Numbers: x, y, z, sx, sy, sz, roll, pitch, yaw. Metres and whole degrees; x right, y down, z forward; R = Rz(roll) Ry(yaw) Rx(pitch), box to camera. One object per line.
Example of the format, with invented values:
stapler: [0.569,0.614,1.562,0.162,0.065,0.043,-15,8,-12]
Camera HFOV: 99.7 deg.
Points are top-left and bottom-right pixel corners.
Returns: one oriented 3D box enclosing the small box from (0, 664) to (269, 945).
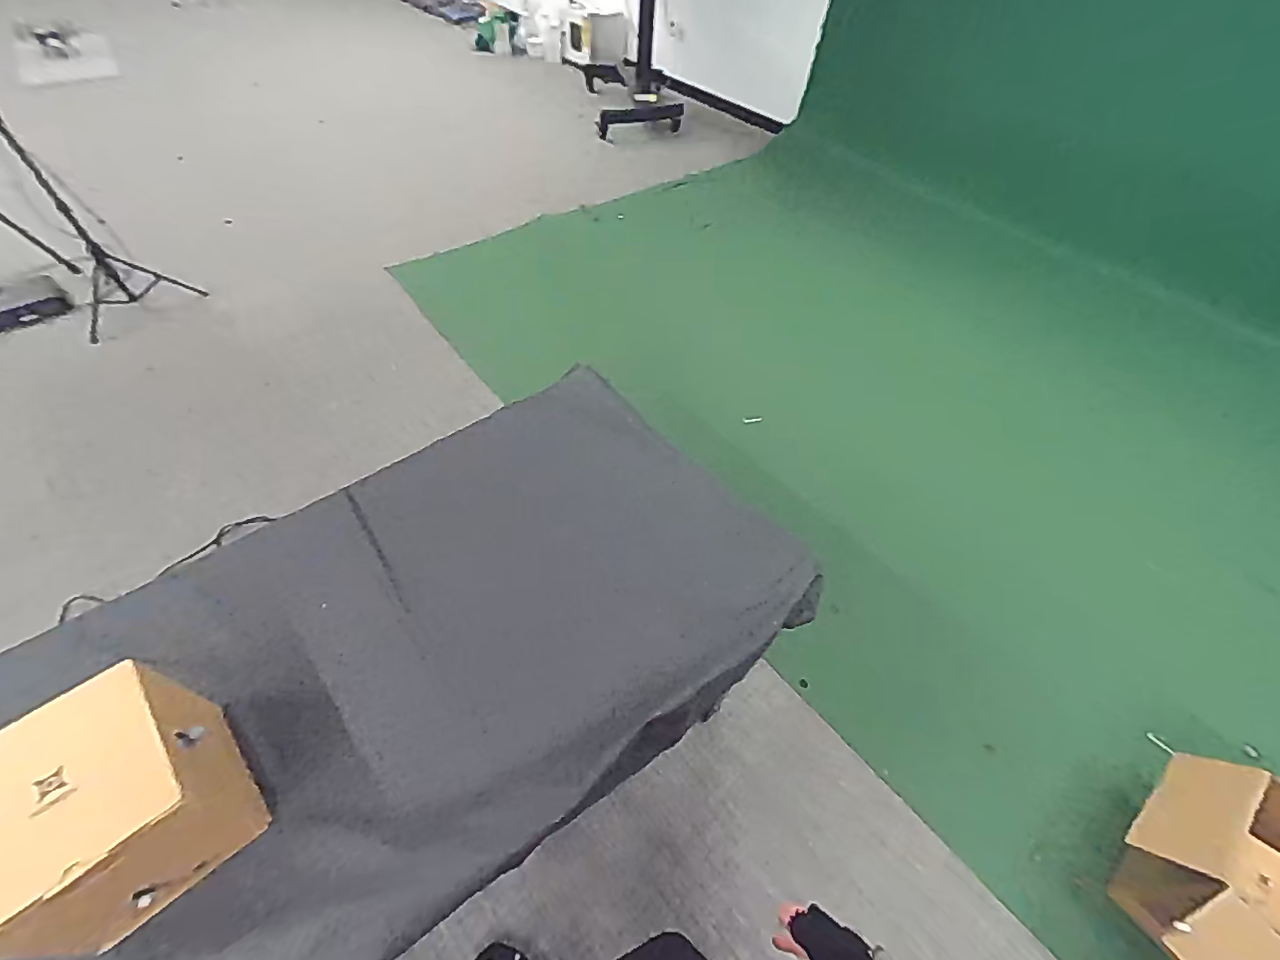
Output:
small box: [-0.529,0.333,0.555,0.168,0.176,0.179,-34,61,-28]
